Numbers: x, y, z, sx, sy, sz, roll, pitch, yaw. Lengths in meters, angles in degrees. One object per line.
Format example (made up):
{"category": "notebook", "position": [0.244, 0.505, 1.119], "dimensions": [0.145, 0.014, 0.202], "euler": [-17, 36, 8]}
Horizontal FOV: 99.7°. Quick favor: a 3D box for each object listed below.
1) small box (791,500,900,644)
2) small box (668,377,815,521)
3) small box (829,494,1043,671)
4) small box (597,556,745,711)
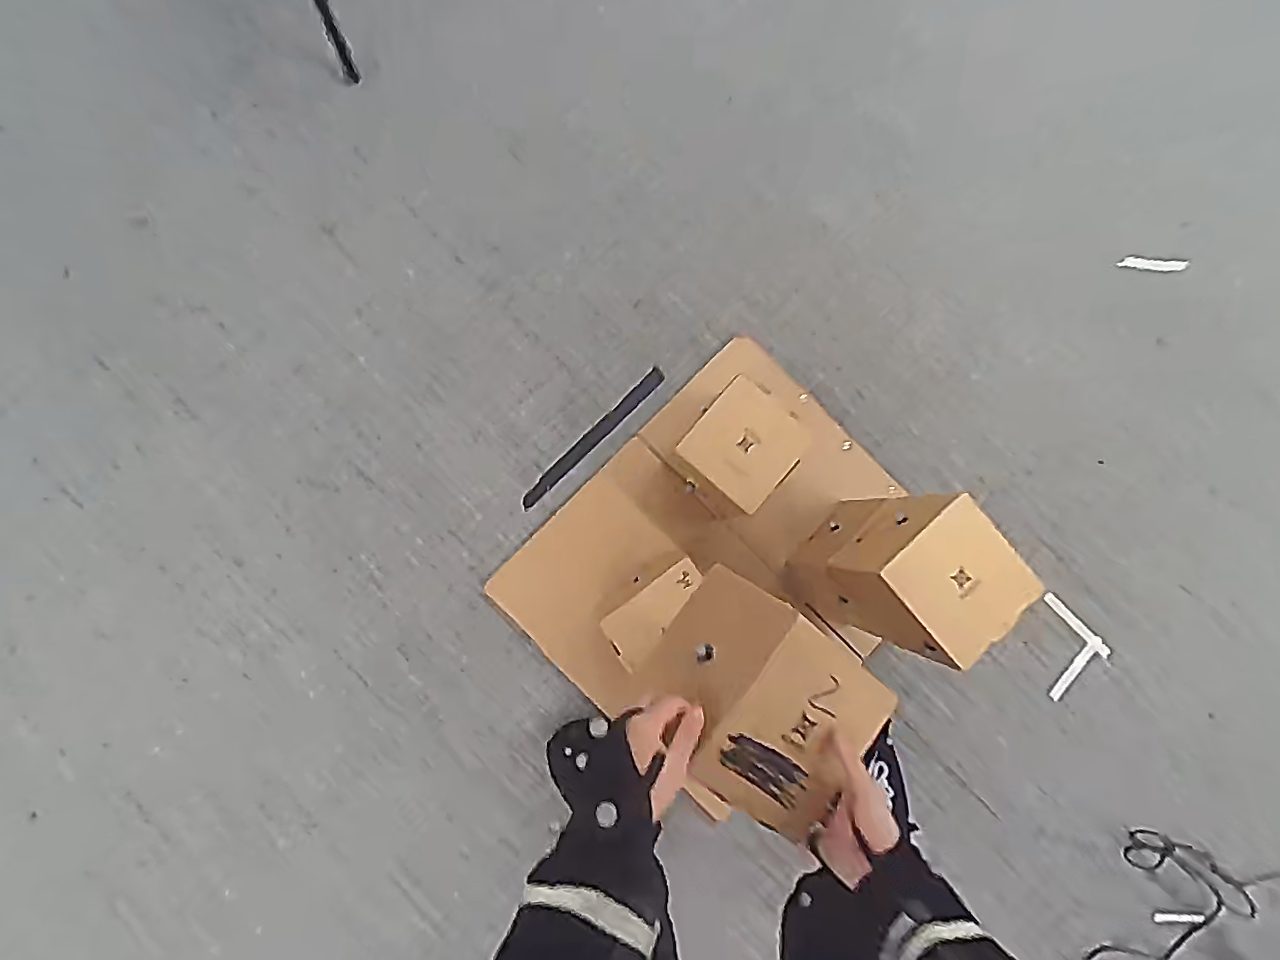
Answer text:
{"category": "small box", "position": [0.399, 0.156, 0.952], "dimensions": [0.168, 0.176, 0.179], "euler": [-45, 91, -6]}
{"category": "small box", "position": [0.165, -0.045, 0.950], "dimensions": [0.168, 0.176, 0.179], "euler": [40, 83, 1]}
{"category": "small box", "position": [0.415, 0.141, 0.791], "dimensions": [0.168, 0.176, 0.179], "euler": [-41, 91, -7]}
{"category": "small box", "position": [0.046, 0.246, 0.911], "dimensions": [0.179, 0.176, 0.168], "euler": [-36, 89, -5]}
